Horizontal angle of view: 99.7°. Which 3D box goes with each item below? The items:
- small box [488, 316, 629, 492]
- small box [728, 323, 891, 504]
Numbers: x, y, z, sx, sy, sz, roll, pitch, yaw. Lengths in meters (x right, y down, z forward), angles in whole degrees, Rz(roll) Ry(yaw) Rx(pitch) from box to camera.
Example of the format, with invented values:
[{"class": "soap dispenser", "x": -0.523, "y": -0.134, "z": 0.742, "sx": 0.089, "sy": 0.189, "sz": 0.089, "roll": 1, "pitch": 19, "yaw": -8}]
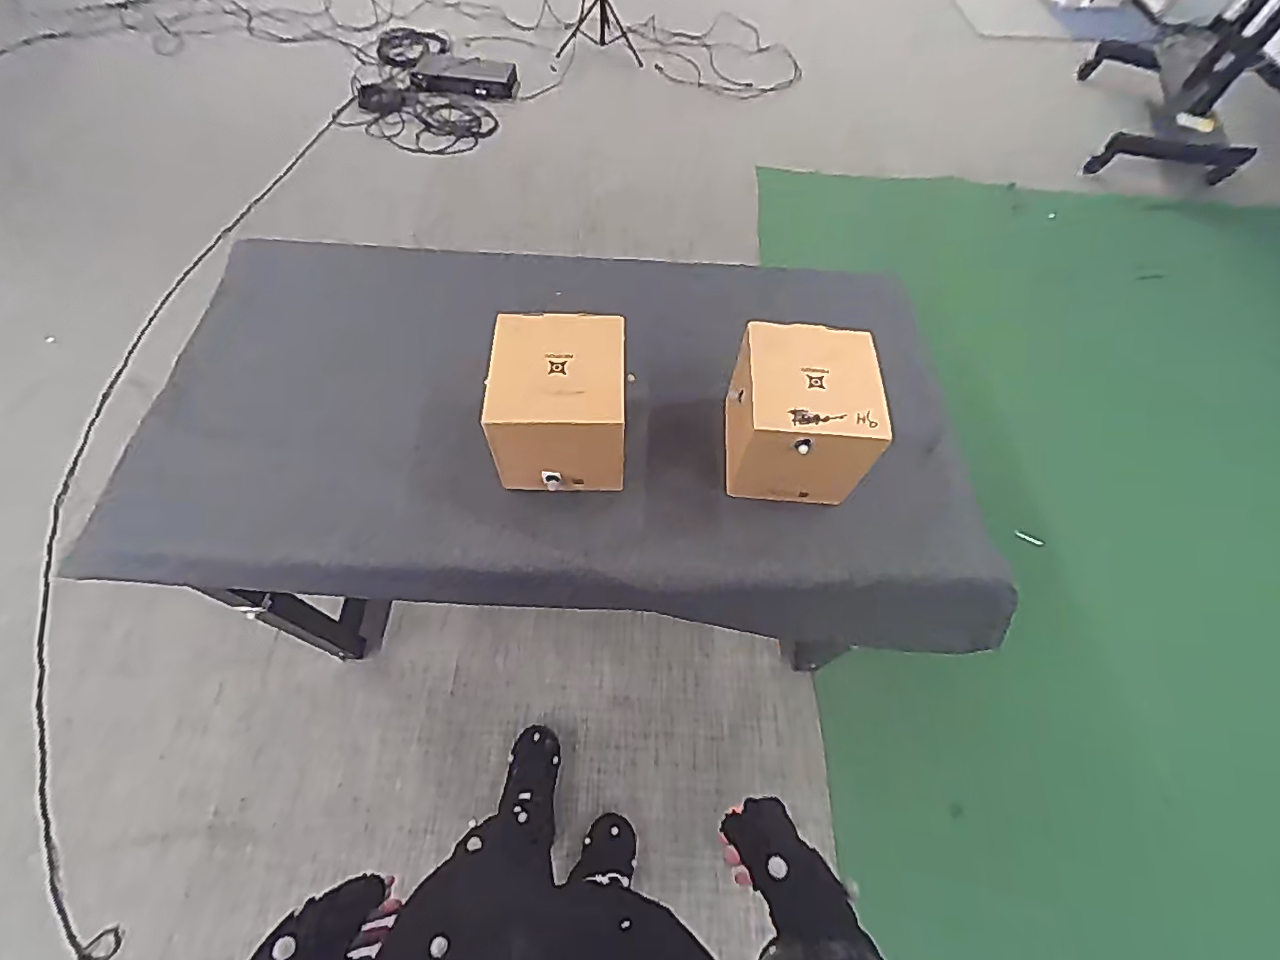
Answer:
[{"class": "small box", "x": -0.100, "y": -0.099, "z": 0.737, "sx": 0.168, "sy": 0.176, "sz": 0.179, "roll": -1, "pitch": 61, "yaw": -2}, {"class": "small box", "x": 0.216, "y": -0.087, "z": 0.744, "sx": 0.168, "sy": 0.176, "sz": 0.179, "roll": 4, "pitch": 59, "yaw": 0}]
